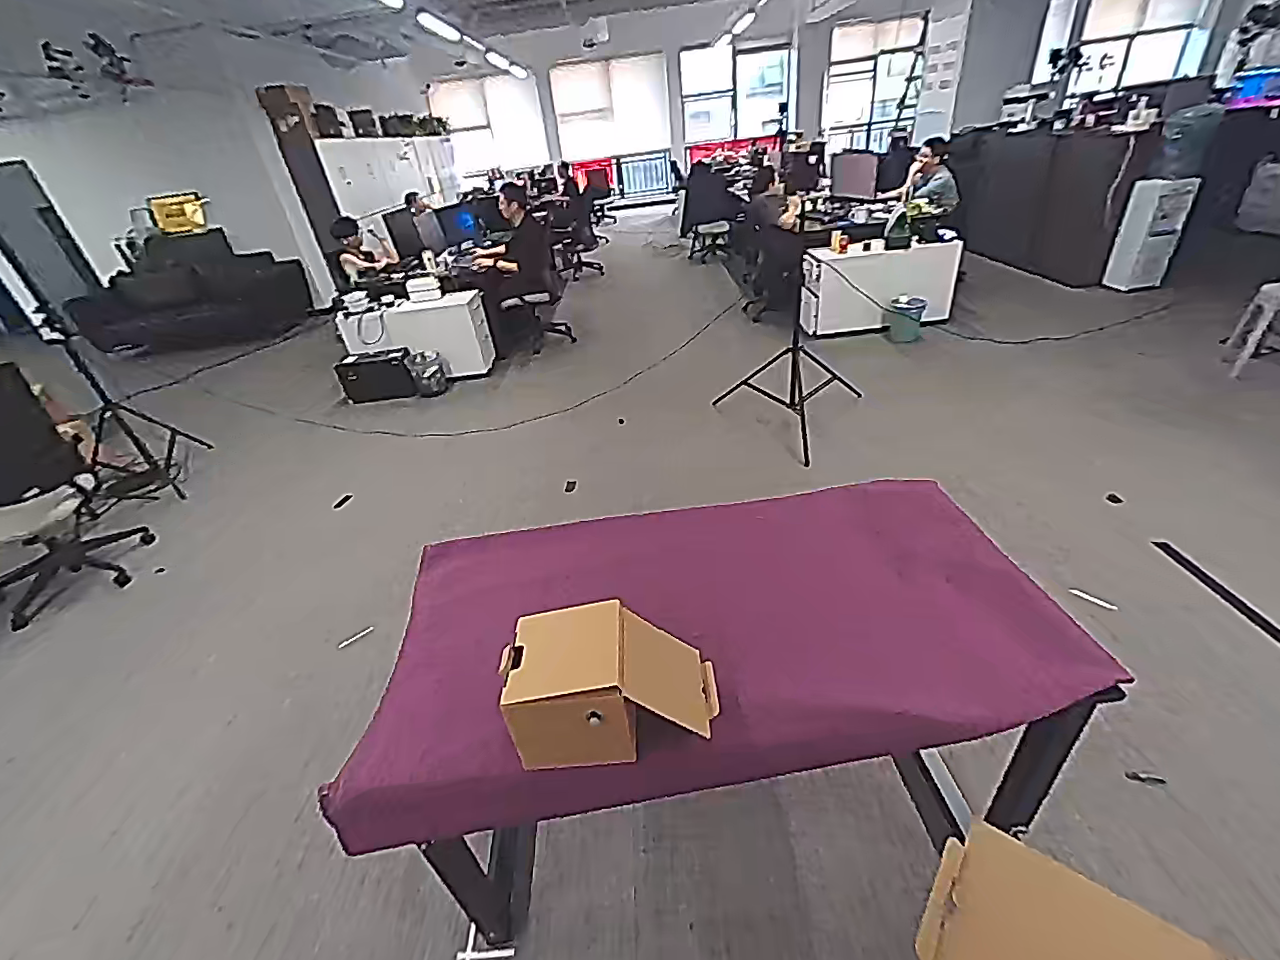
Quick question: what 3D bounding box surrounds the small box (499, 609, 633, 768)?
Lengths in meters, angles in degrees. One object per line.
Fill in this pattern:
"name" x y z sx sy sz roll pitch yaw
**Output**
"small box" -0.103 0.331 0.860 0.179 0.176 0.168 -6 32 3
